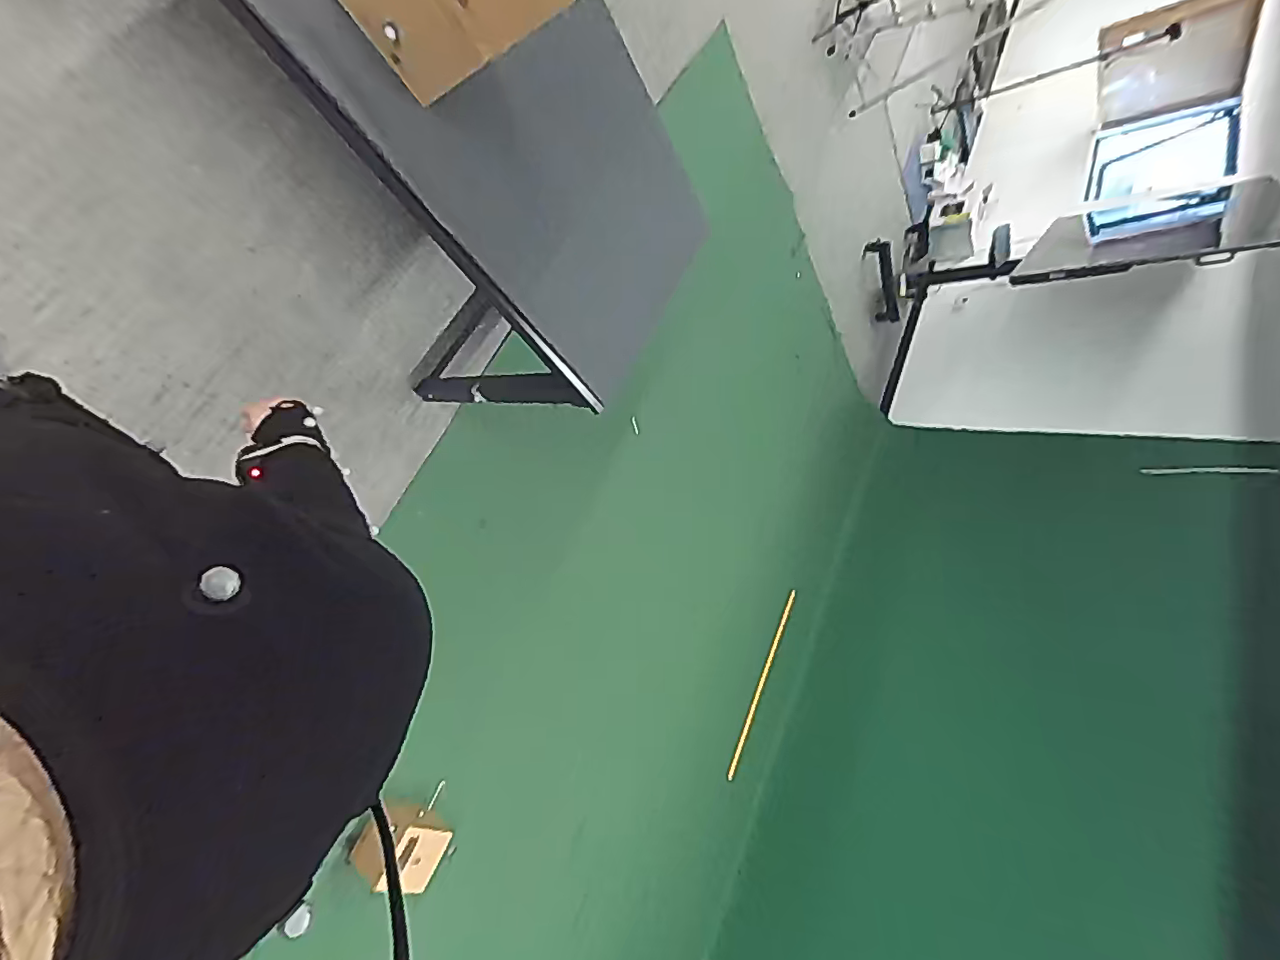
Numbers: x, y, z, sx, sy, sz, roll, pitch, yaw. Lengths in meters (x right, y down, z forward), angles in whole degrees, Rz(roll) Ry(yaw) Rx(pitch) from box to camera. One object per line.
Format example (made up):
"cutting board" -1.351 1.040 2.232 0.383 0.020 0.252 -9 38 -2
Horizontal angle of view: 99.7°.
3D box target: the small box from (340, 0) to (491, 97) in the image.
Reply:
"small box" -0.261 -0.648 0.699 0.168 0.176 0.179 46 61 -42

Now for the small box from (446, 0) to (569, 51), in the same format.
"small box" -0.138 -0.631 0.595 0.168 0.176 0.179 46 61 -43
